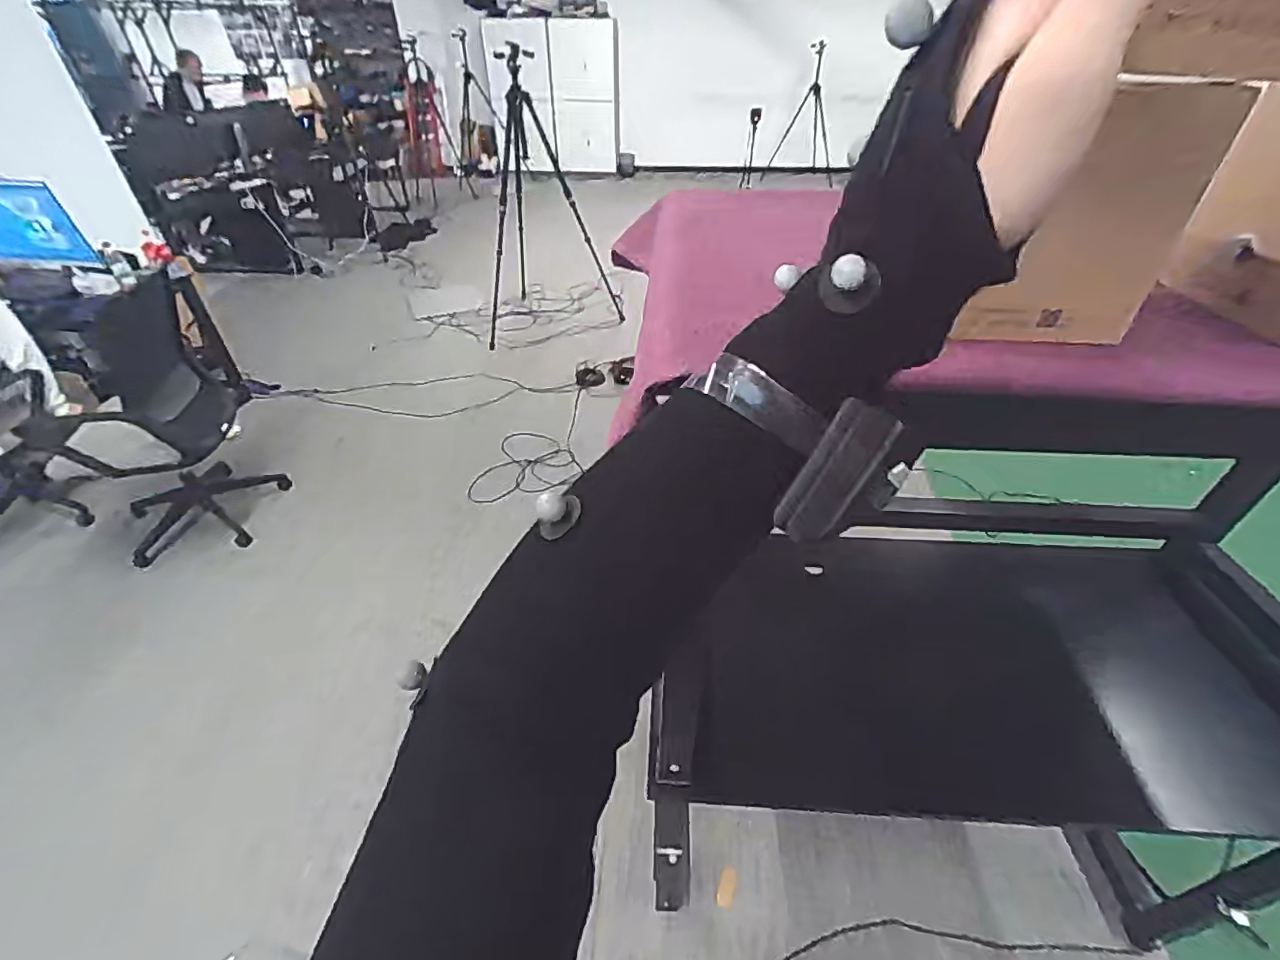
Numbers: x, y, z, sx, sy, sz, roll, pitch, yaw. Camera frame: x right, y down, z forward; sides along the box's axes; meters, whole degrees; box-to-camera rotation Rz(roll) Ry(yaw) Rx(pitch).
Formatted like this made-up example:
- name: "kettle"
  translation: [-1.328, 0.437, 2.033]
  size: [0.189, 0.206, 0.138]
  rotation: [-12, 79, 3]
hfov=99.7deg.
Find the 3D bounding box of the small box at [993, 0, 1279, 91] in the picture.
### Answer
- name: "small box"
  translation: [0.251, -0.272, 0.189]
  size: [0.168, 0.176, 0.179]
  rotation: [10, 67, 10]
